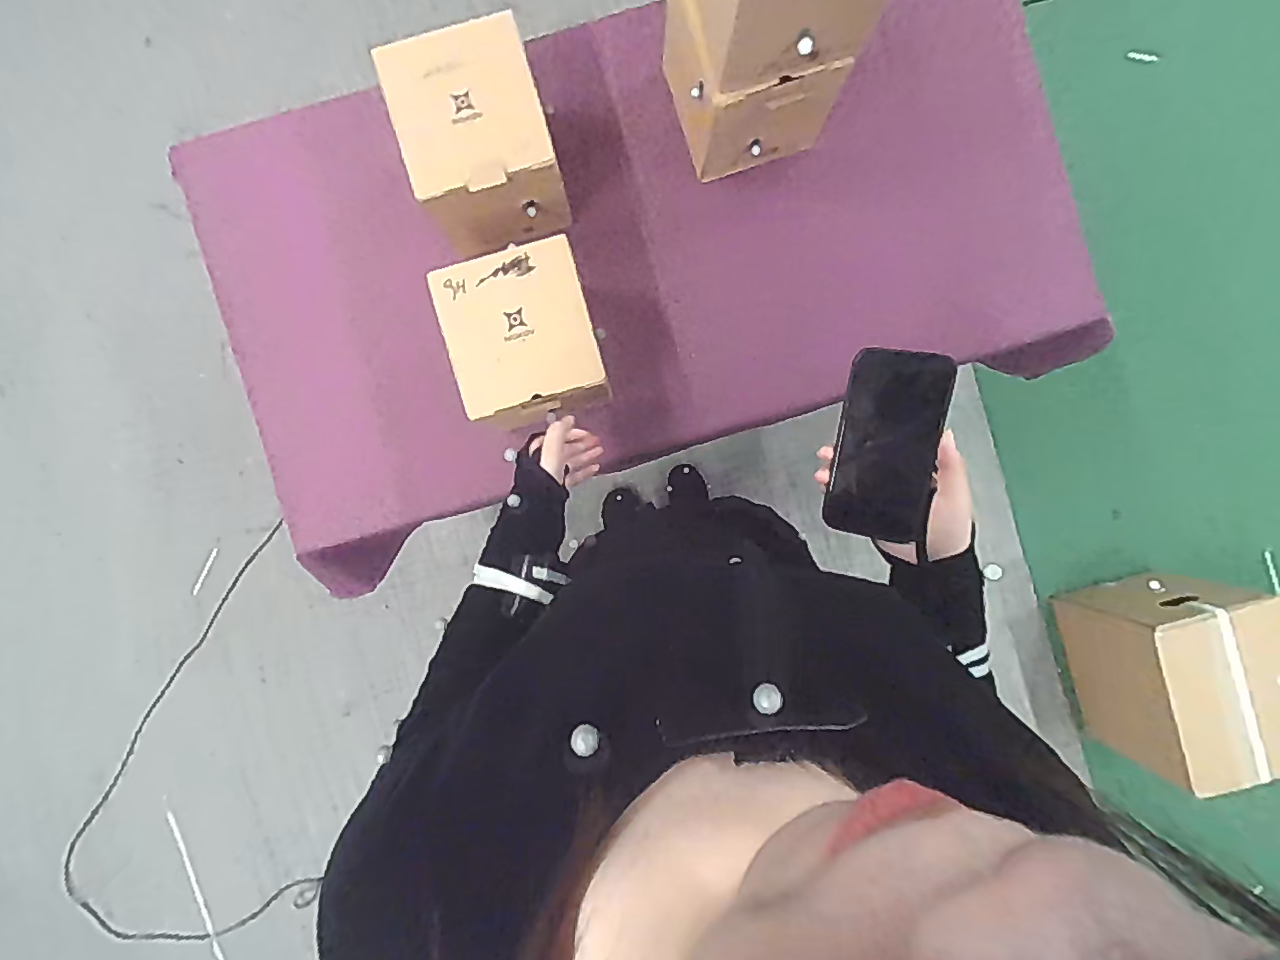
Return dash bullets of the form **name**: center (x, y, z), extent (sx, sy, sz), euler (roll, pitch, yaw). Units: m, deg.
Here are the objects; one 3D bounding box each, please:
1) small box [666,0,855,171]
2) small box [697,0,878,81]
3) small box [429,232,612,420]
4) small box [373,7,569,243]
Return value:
- **small box**: center (0.136, -0.534, 0.677), extent (0.168, 0.176, 0.179), euler (-19, 92, 1)
- **small box**: center (0.139, -0.538, 0.512), extent (0.168, 0.176, 0.179), euler (-16, 93, 1)
- **small box**: center (-0.136, -0.178, 0.689), extent (0.168, 0.176, 0.179), euler (-16, 92, 1)
- **small box**: center (-0.196, -0.423, 0.683), extent (0.168, 0.176, 0.179), euler (-17, 91, 0)
